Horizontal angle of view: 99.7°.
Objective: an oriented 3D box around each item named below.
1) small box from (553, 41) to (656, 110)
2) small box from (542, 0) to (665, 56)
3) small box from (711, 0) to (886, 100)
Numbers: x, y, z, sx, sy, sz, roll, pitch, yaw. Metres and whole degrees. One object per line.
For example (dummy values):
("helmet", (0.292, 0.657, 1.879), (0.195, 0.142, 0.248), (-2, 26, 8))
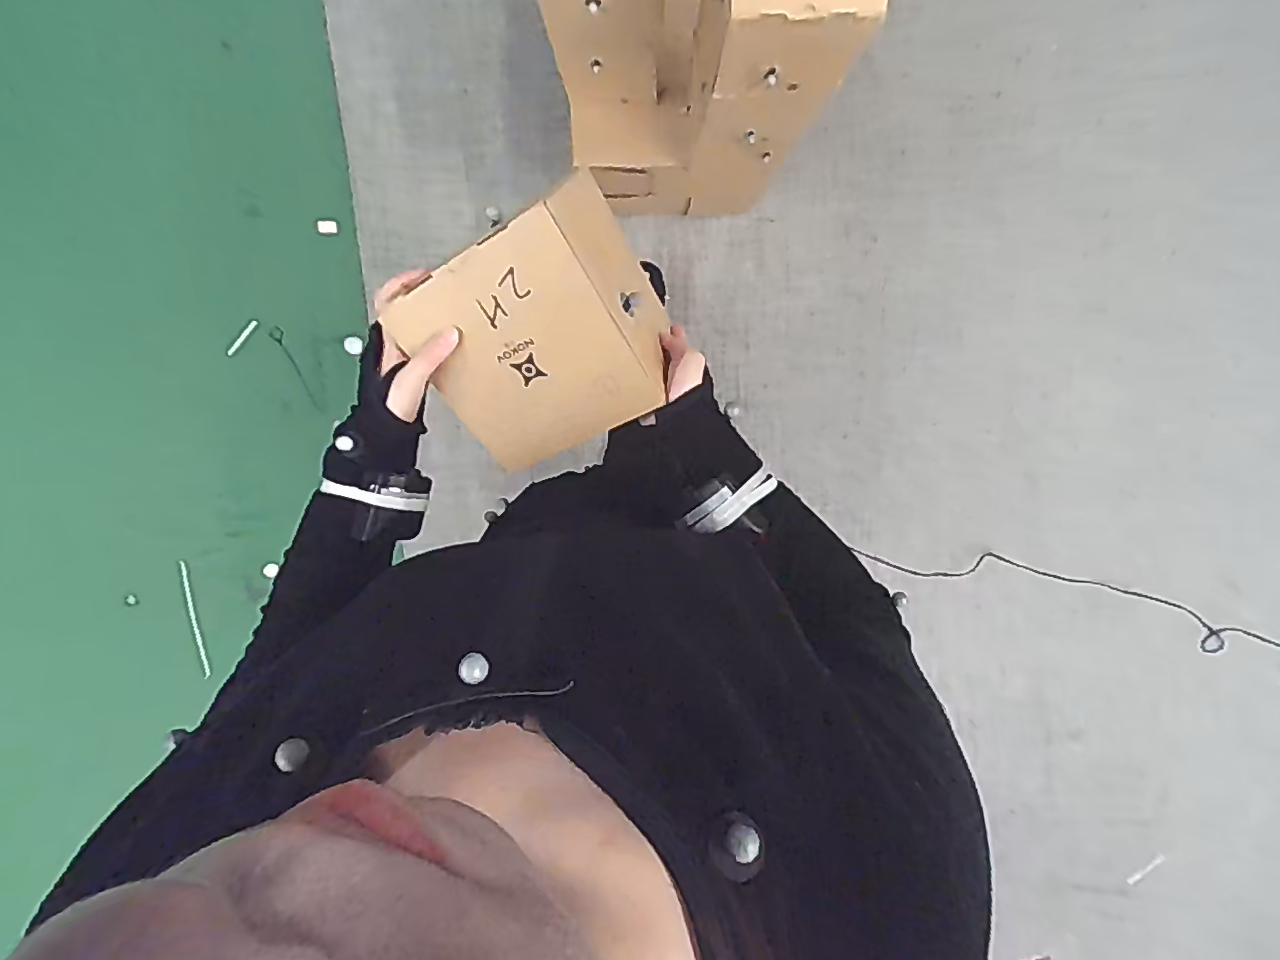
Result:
("small box", (-0.057, -0.774, 0.930), (0.168, 0.176, 0.179), (-1, 99, 2))
("small box", (-0.054, -0.741, 0.767), (0.179, 0.176, 0.168), (-2, 101, 2))
("small box", (0.175, -0.582, 0.630), (0.168, 0.176, 0.179), (-1, 101, 0))
